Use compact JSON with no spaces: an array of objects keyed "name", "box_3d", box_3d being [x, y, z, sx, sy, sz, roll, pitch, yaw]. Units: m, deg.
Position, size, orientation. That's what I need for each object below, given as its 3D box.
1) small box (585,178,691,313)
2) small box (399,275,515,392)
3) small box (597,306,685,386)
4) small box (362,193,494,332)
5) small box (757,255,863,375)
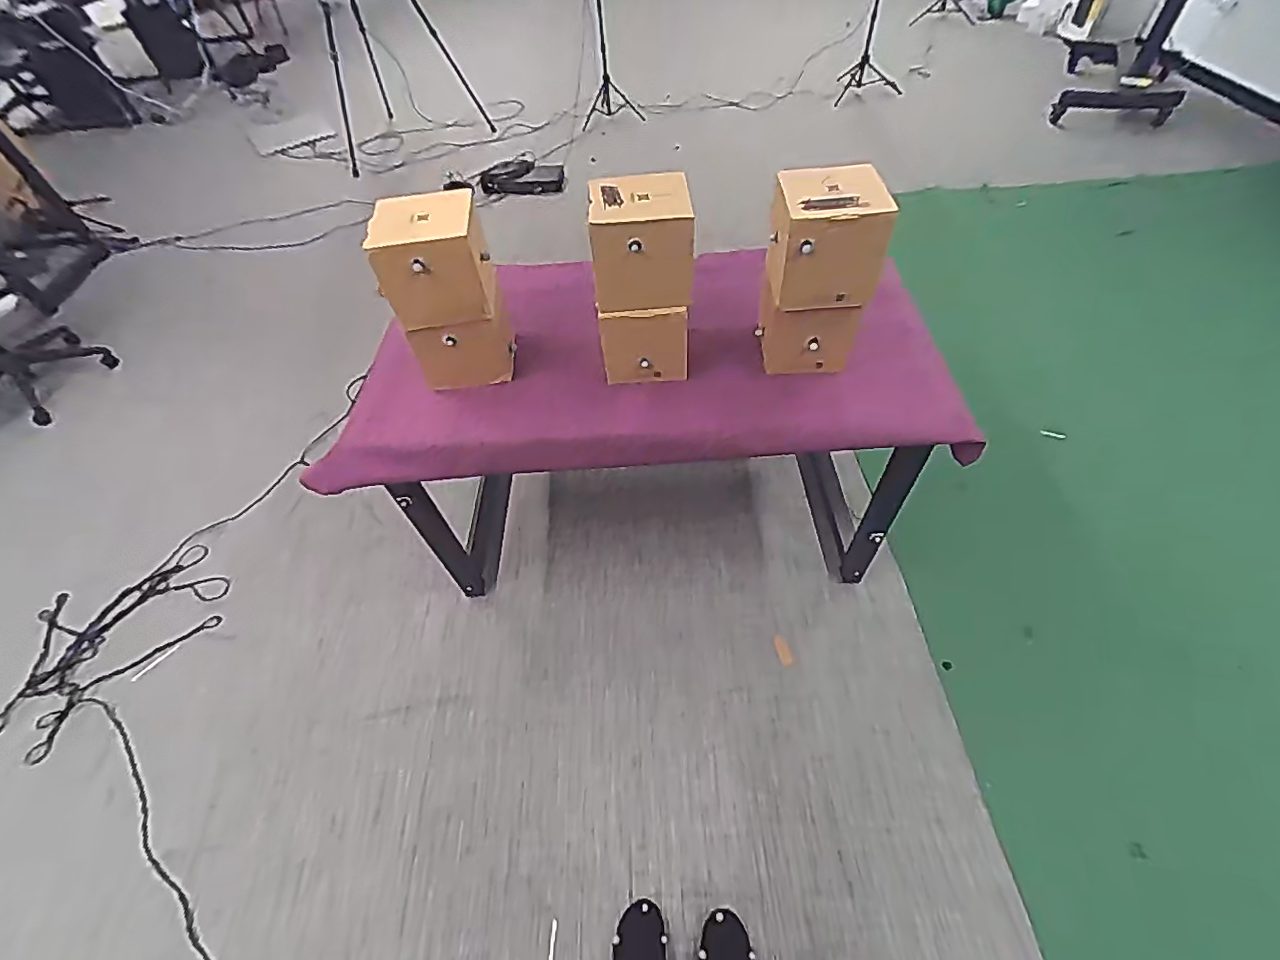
[{"name":"small box","box_3d":[0.000,-0.421,0.982,0.179,0.176,0.168,-4,52,1]},{"name":"small box","box_3d":[-0.370,-0.301,1.128,0.179,0.176,0.168,-7,53,-1]},{"name":"small box","box_3d":[0.007,-0.313,1.106,0.168,0.176,0.179,-2,53,3]},{"name":"small box","box_3d":[-0.375,-0.396,0.998,0.179,0.176,0.168,-9,53,-2]},{"name":"small box","box_3d":[0.332,-0.326,1.089,0.168,0.176,0.179,-1,53,4]}]
